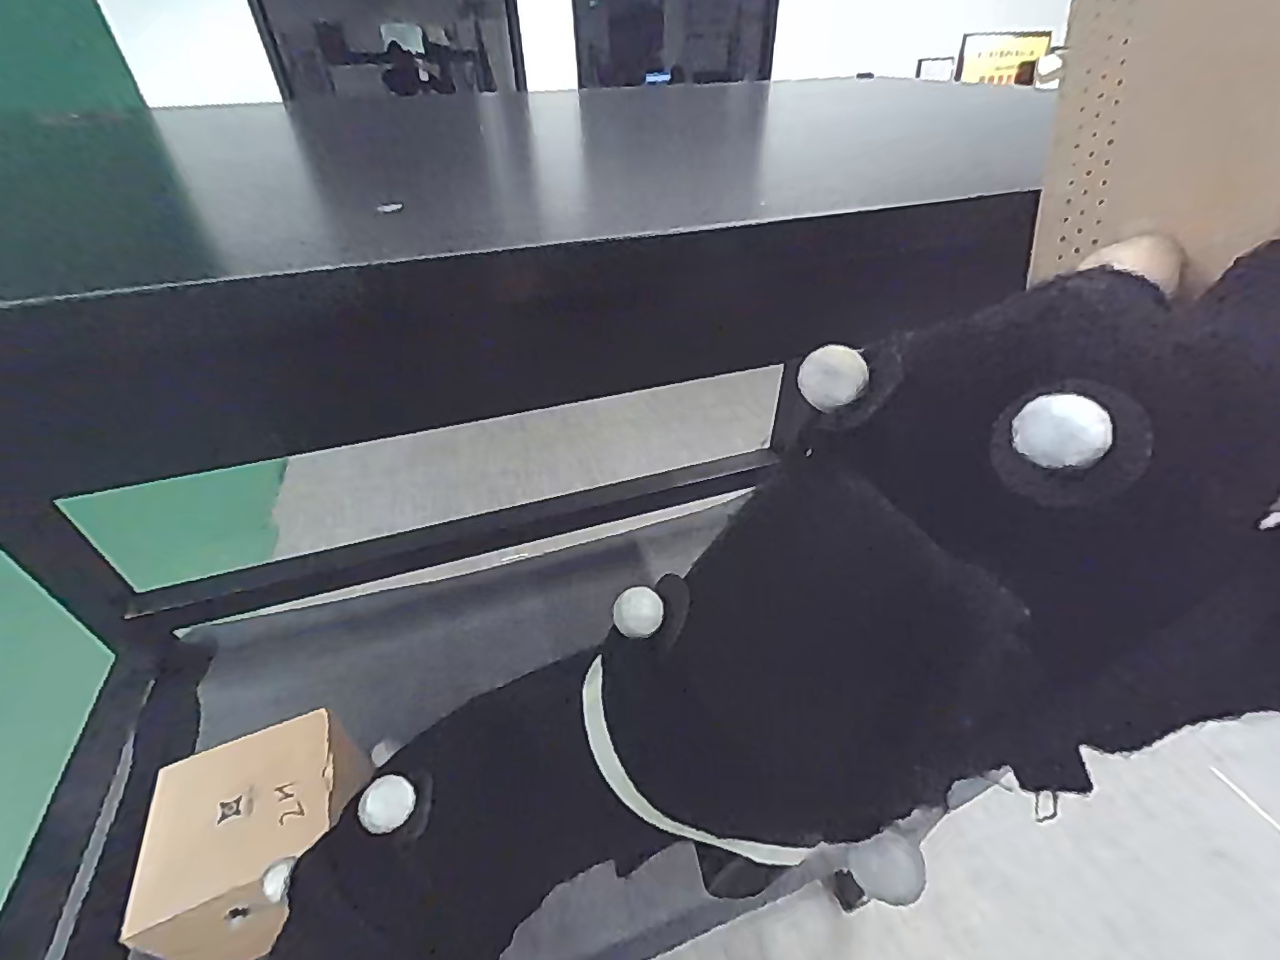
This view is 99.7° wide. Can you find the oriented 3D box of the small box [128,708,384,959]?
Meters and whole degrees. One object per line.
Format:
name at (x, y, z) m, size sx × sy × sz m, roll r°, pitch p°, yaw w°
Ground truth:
small box at (-0.416, 0.406, 0.622) m, size 0.179 × 0.176 × 0.168 m, roll -16°, pitch 41°, yaw -18°
